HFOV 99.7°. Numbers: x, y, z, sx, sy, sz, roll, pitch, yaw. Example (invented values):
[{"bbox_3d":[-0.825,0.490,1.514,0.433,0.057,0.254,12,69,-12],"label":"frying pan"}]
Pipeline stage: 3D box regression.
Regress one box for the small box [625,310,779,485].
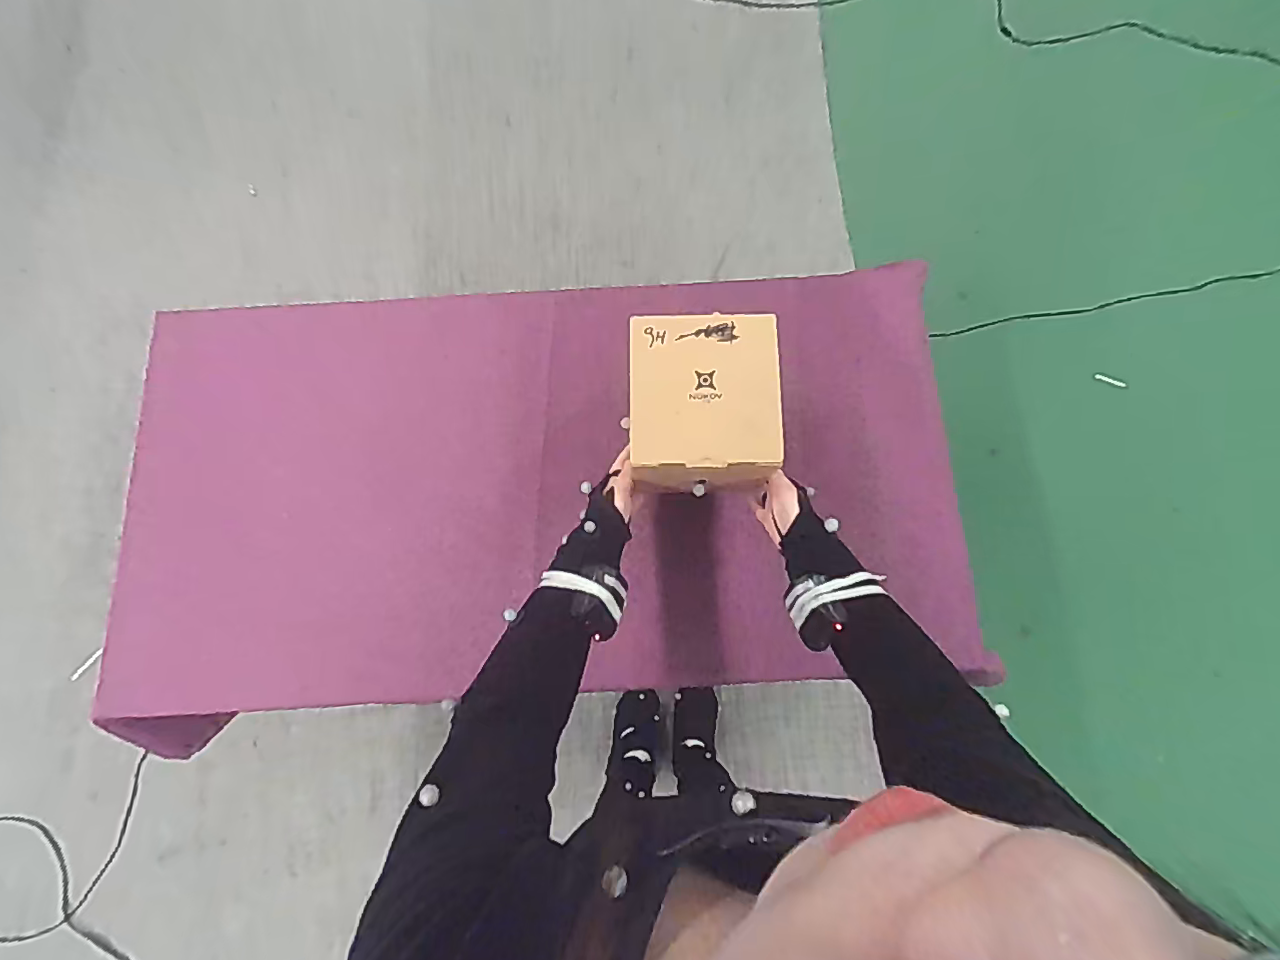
[{"bbox_3d":[0.070,-0.088,0.663,0.168,0.176,0.179,-1,80,2],"label":"small box"}]
